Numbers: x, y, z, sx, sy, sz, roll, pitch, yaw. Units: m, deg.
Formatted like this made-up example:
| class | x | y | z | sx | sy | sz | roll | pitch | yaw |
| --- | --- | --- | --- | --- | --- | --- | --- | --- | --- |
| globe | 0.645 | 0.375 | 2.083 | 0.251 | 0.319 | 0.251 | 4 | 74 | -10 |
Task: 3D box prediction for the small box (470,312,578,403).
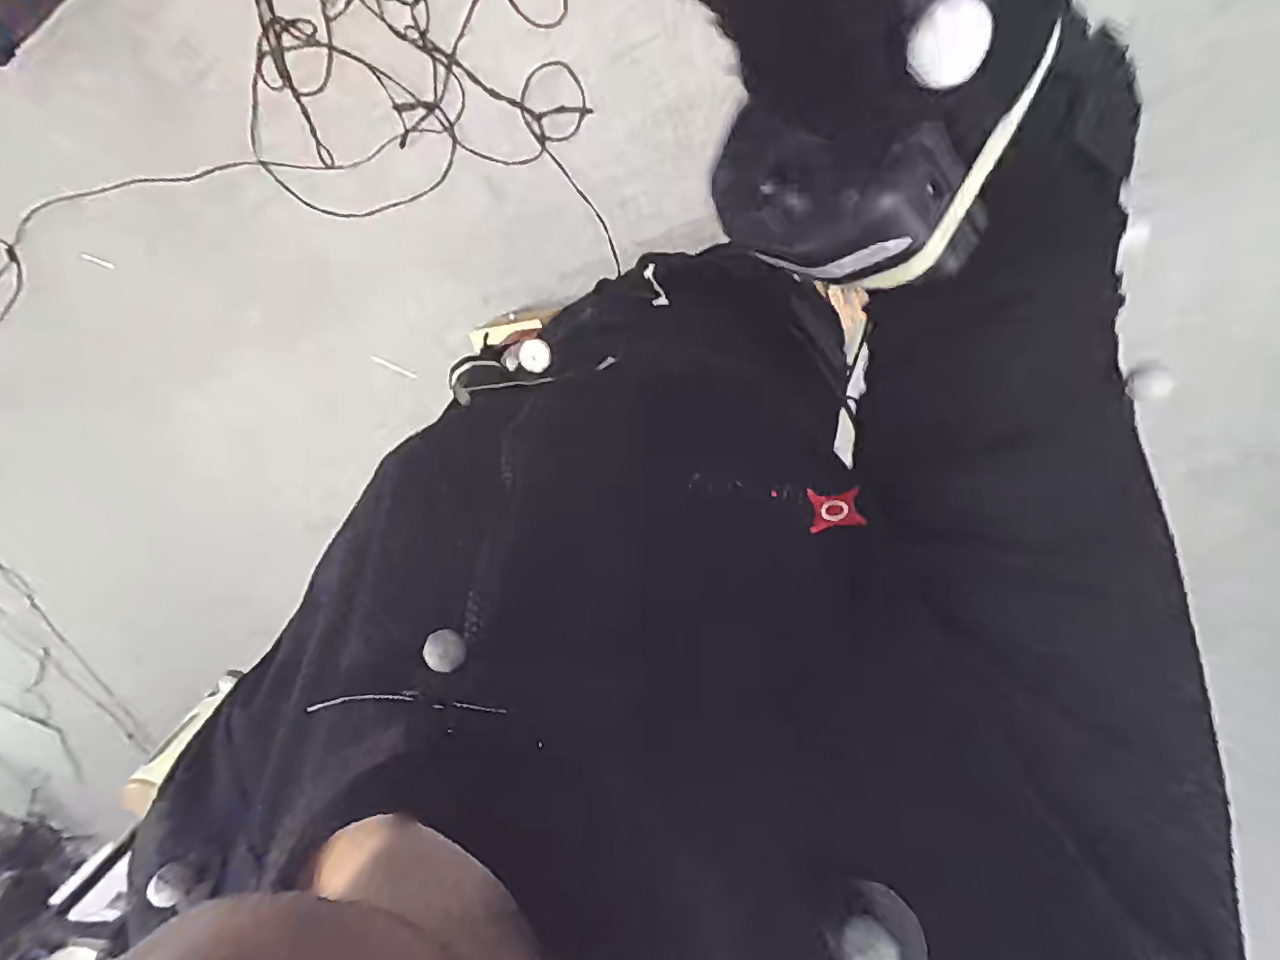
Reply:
| class | x | y | z | sx | sy | sz | roll | pitch | yaw |
| --- | --- | --- | --- | --- | --- | --- | --- | --- | --- |
| small box | -0.266 | -0.292 | 1.281 | 0.179 | 0.176 | 0.168 | -6 | 115 | 14 |
